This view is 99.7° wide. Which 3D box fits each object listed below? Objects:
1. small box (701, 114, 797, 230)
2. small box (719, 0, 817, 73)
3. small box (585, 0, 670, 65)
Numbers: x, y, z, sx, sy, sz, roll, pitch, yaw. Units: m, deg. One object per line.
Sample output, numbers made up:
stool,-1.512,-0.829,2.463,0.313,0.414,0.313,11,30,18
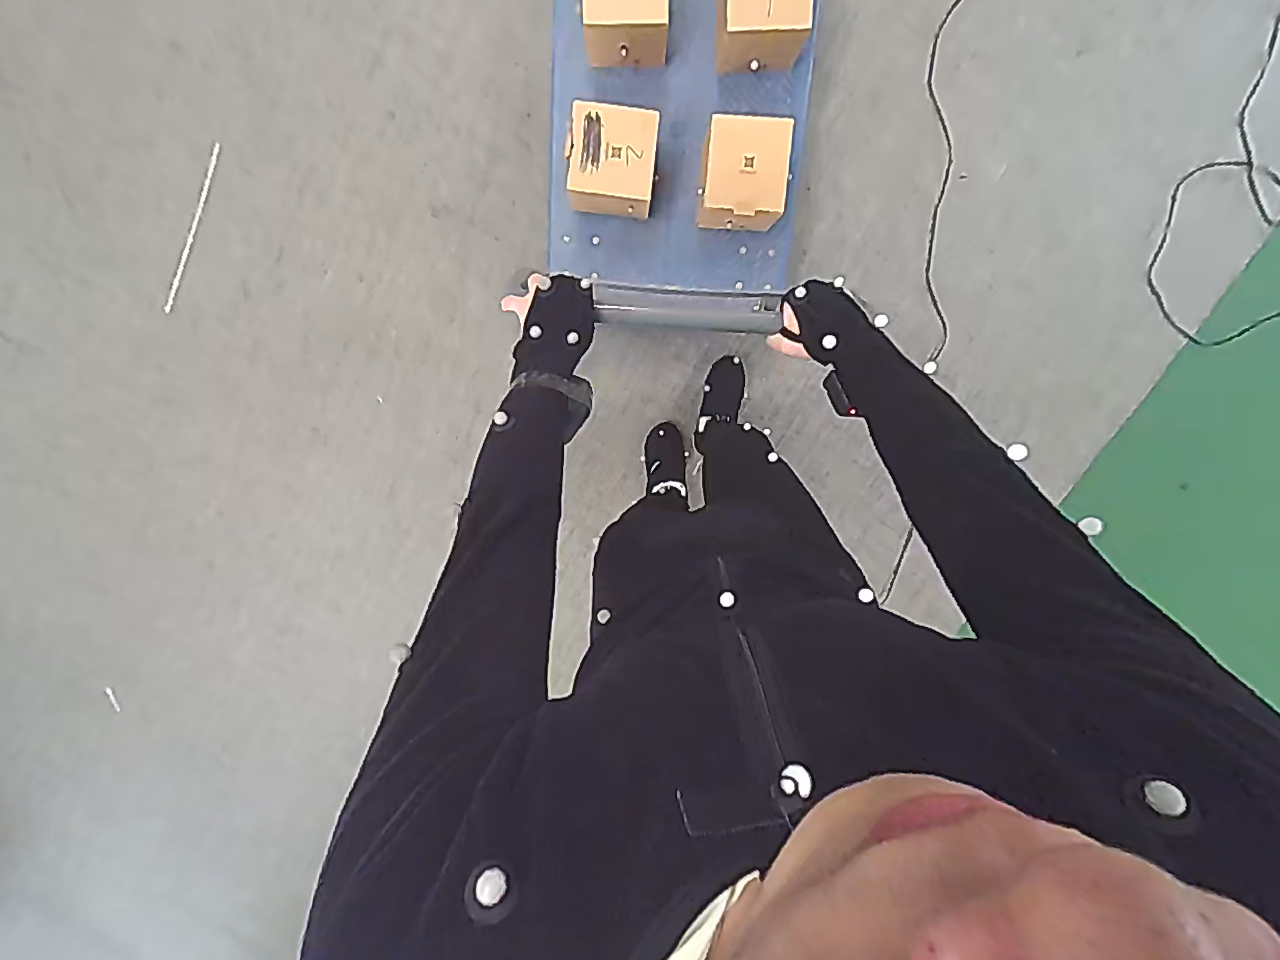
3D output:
small box,0.226,-0.656,1.170,0.168,0.176,0.179,3,105,-1
small box,0.253,-0.963,1.091,0.168,0.176,0.179,0,105,1
small box,-0.022,-0.973,1.090,0.168,0.176,0.179,-1,104,0
